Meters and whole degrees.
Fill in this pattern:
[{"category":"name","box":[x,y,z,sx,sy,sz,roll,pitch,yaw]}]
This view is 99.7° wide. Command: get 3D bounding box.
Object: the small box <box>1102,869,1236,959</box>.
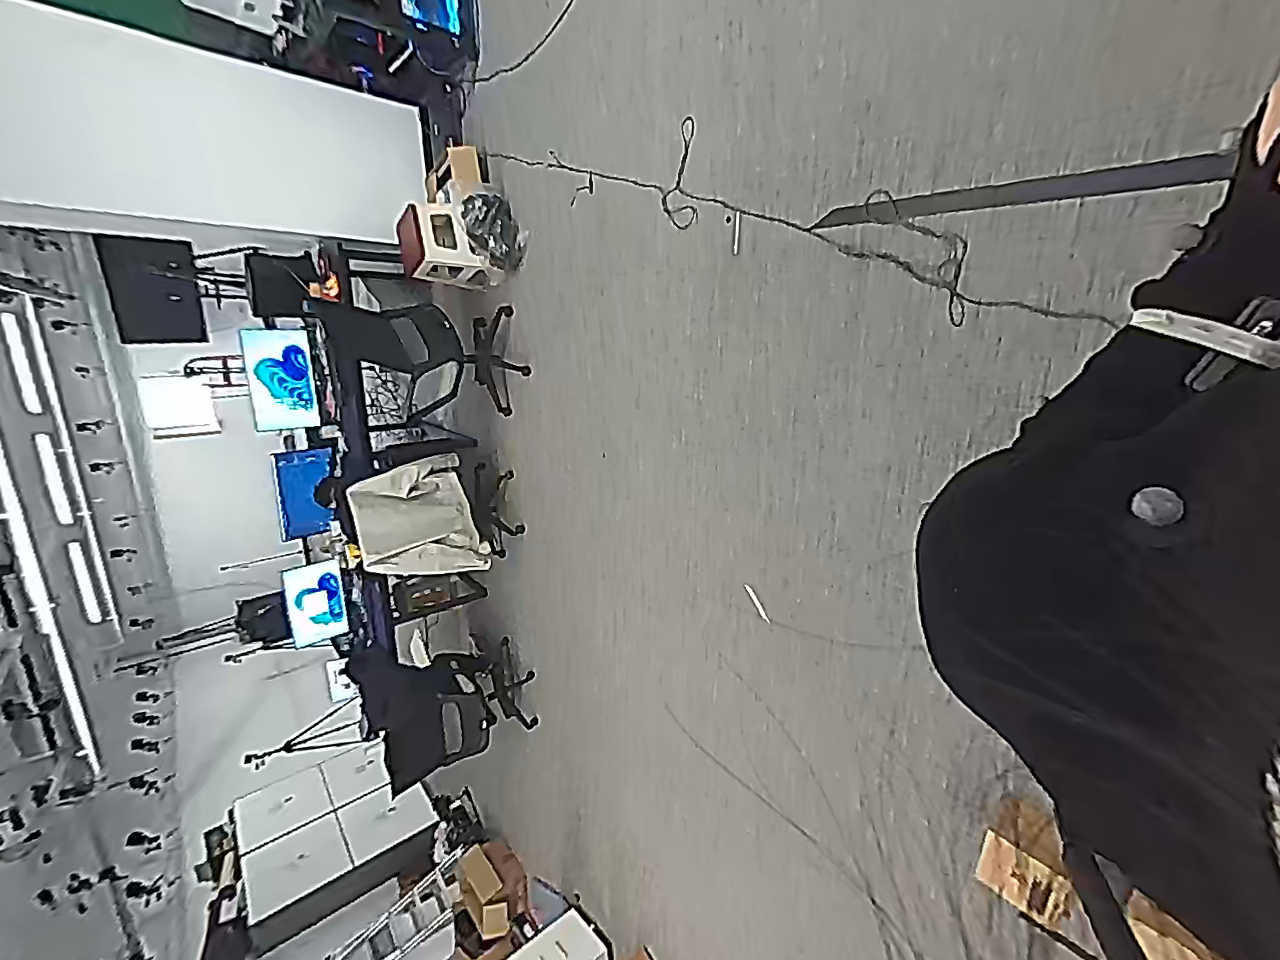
[{"category":"small box","box":[1.157,1.018,1.182,0.168,0.176,0.179,22,116,45]}]
